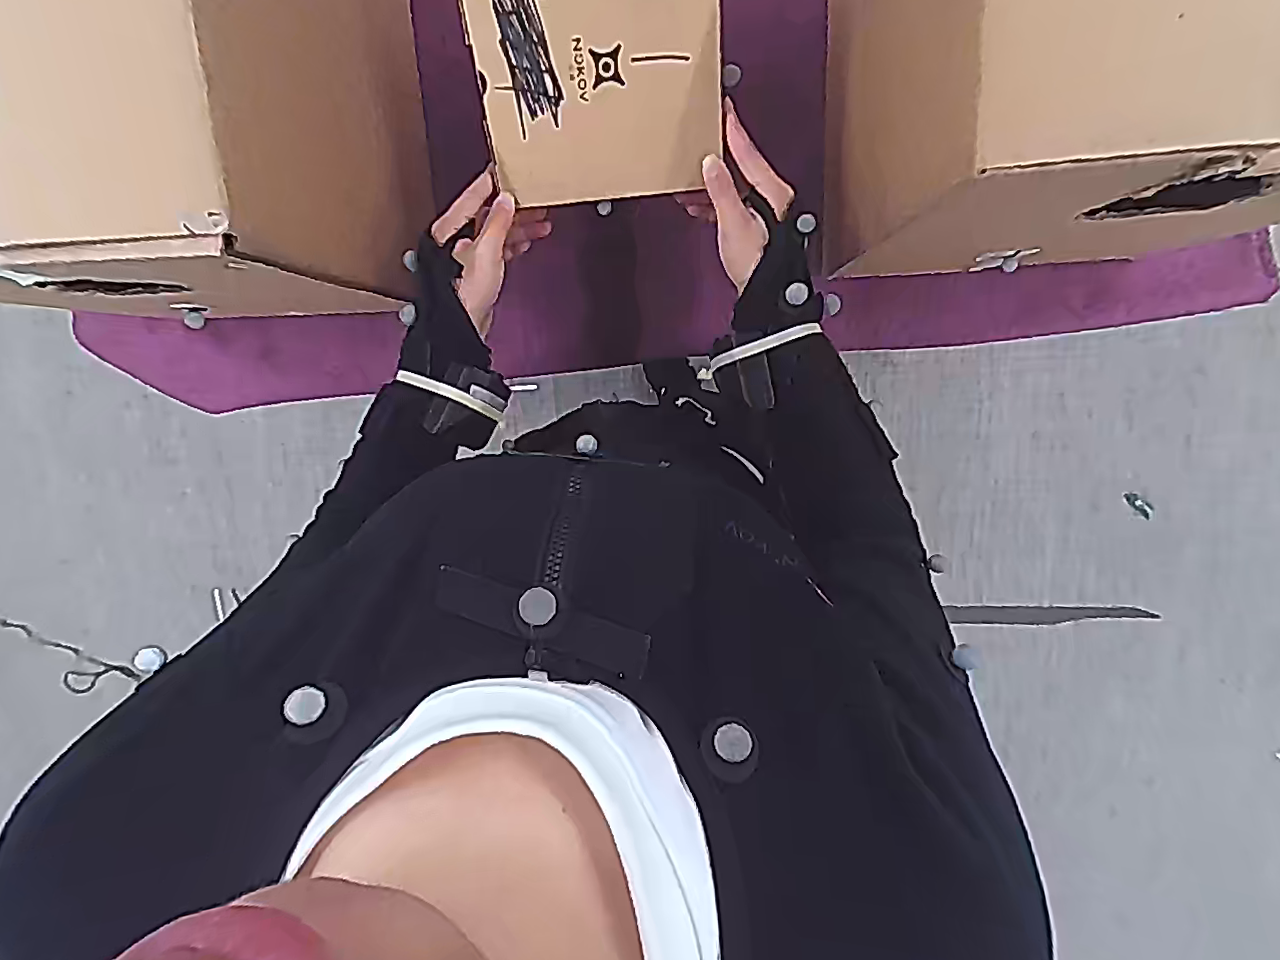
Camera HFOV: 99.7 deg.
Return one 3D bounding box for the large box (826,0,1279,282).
[{"bbox_3d":[0.316,-0.380,0.363,0.320,0.320,0.408,-3,100,4],"label":"large box"}]
